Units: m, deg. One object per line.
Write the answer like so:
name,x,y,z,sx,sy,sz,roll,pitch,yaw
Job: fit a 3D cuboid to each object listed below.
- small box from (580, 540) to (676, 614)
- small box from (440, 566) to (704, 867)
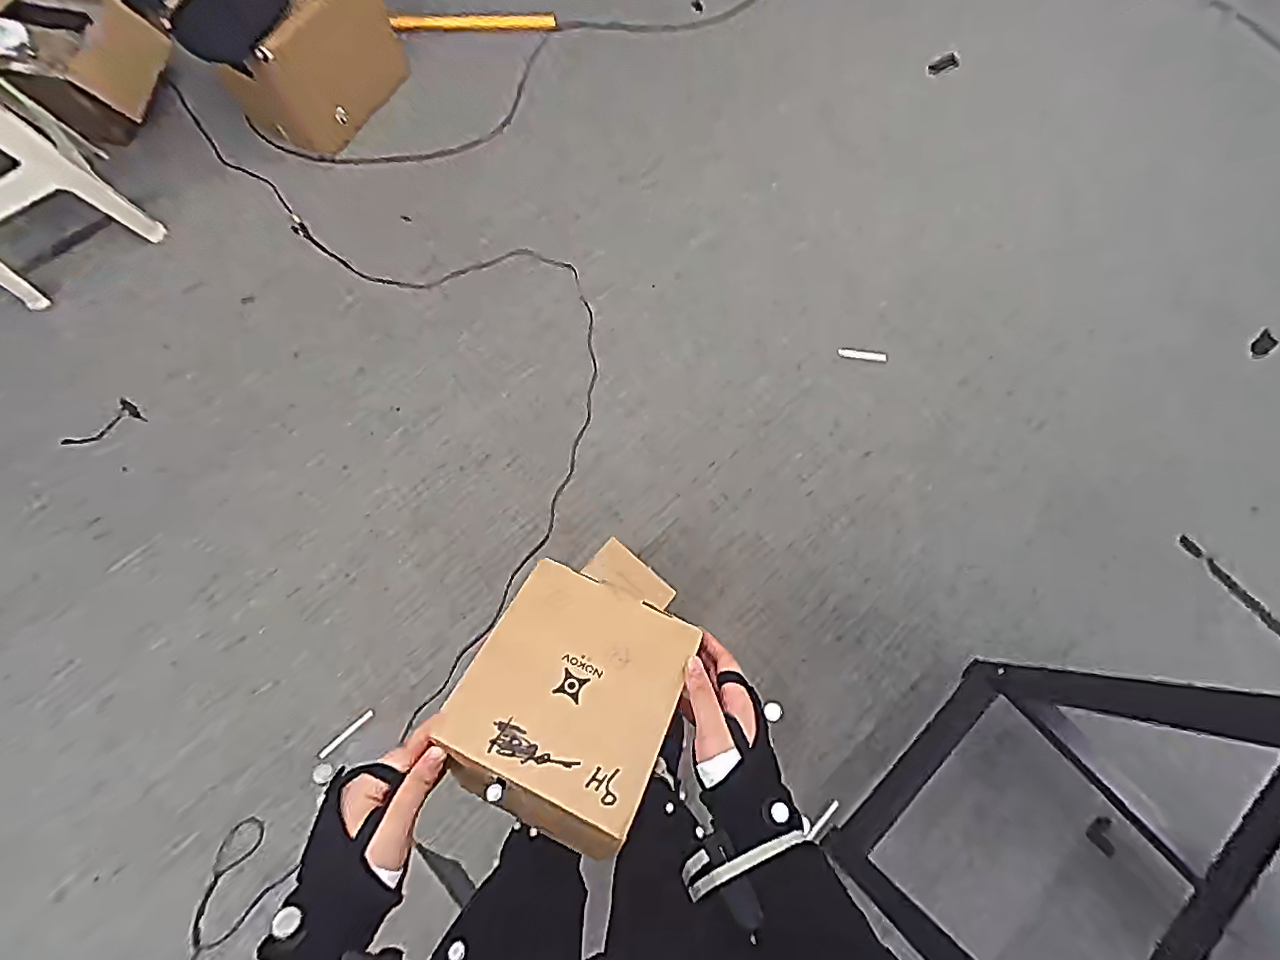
small box,-0.051,0.248,1.079,0.168,0.176,0.179,40,76,7
small box,-0.057,0.220,0.508,0.168,0.176,0.179,21,48,12
